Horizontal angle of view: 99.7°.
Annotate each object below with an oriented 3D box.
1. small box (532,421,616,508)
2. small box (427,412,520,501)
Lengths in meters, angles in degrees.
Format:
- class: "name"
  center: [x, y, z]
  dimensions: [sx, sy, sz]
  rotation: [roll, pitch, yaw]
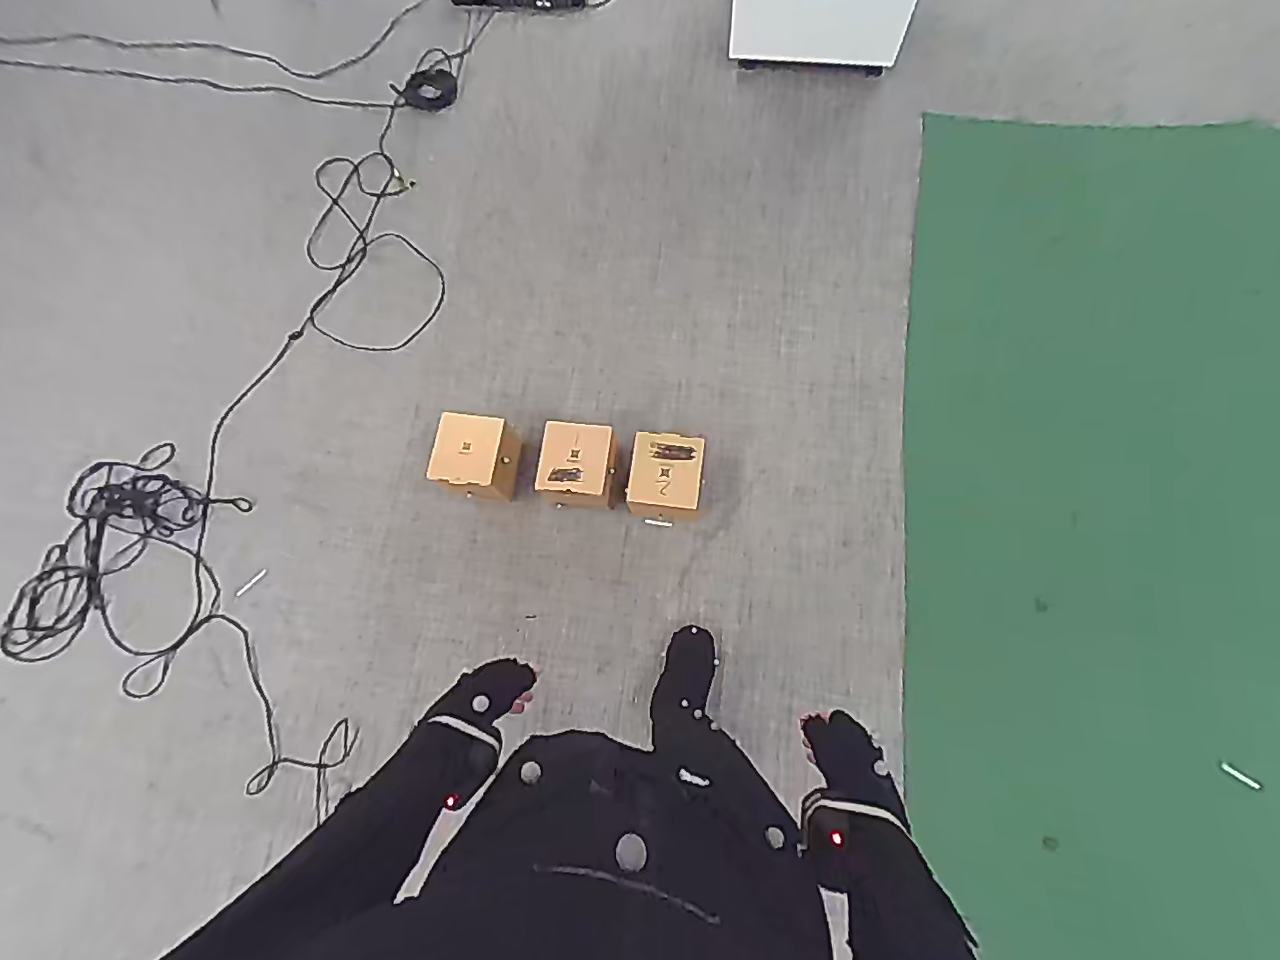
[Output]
- class: "small box"
  center: [-0.159, -0.034, 1.373]
  dimensions: [0.168, 0.176, 0.179]
  rotation: [6, 74, 7]
- class: "small box"
  center: [-0.422, -0.057, 1.404]
  dimensions: [0.168, 0.176, 0.179]
  rotation: [6, 75, 7]
